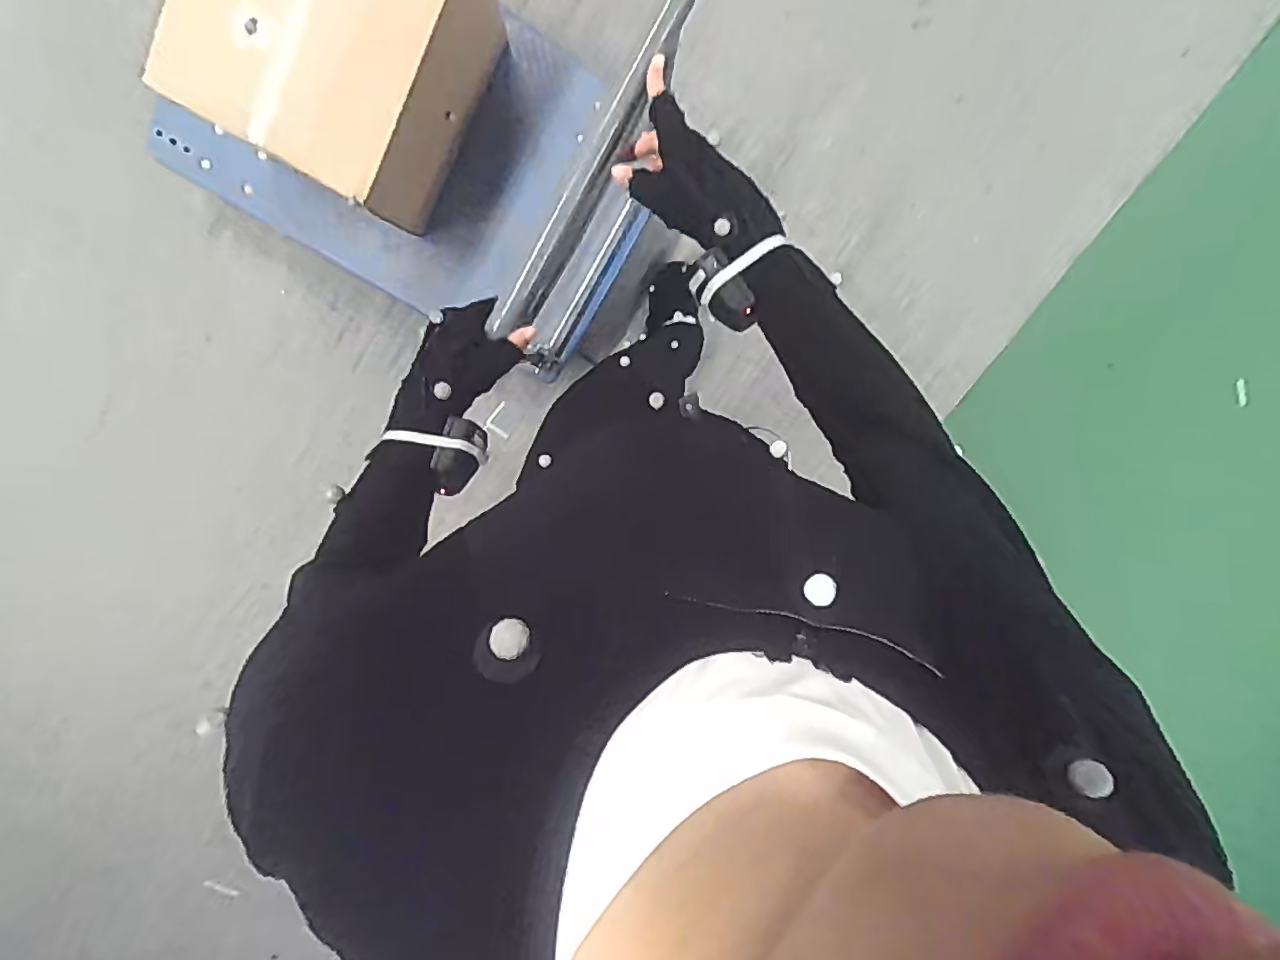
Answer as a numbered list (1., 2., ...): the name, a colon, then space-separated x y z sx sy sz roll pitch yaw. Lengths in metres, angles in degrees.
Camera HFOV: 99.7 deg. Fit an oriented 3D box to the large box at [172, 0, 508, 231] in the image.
1. large box: -0.449 -0.693 0.886 0.320 0.320 0.408 25 103 -11
